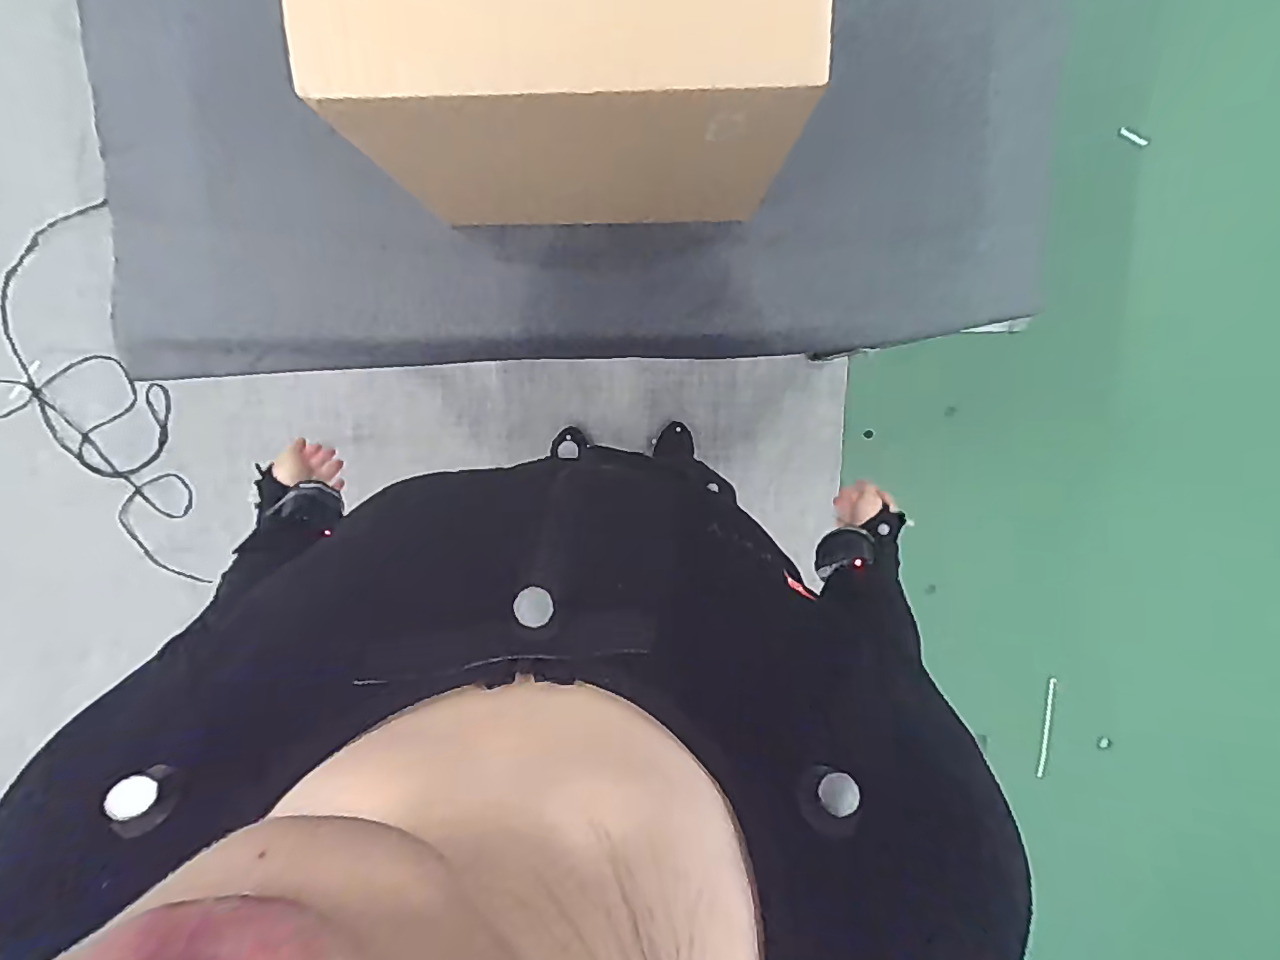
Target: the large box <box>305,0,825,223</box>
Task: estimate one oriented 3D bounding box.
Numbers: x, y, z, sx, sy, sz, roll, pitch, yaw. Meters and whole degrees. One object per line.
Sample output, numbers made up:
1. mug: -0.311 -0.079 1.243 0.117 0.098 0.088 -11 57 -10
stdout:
1. large box: -0.062 -0.476 0.547 0.408 0.320 0.320 -2 99 0
